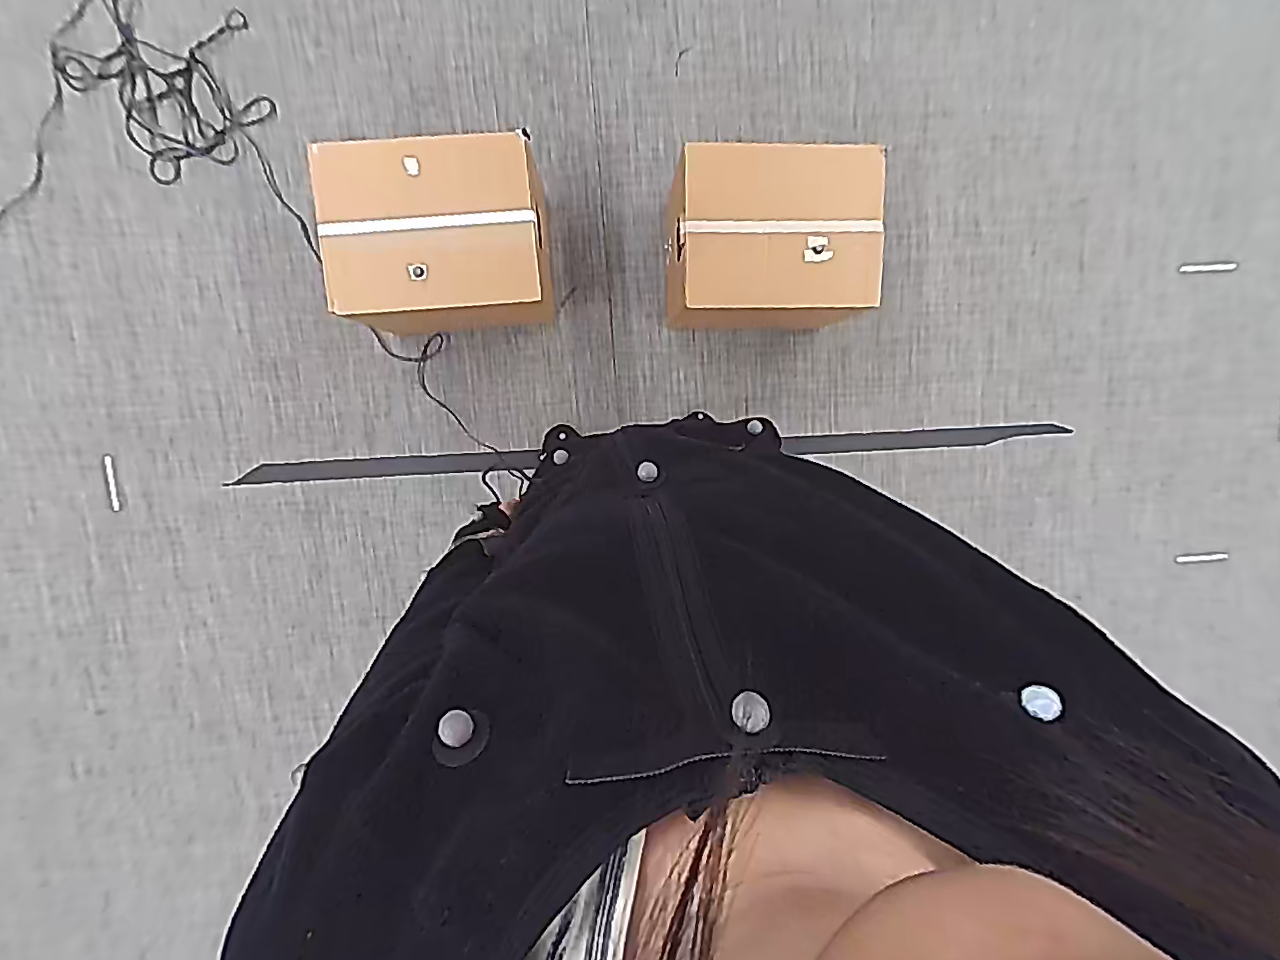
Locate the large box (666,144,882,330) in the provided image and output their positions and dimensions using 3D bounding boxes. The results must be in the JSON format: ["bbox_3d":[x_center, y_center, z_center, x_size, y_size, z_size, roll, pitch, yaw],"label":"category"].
[{"bbox_3d":[0.278,-0.527,1.232,0.408,0.320,0.320,-1,98,-4],"label":"large box"}]
